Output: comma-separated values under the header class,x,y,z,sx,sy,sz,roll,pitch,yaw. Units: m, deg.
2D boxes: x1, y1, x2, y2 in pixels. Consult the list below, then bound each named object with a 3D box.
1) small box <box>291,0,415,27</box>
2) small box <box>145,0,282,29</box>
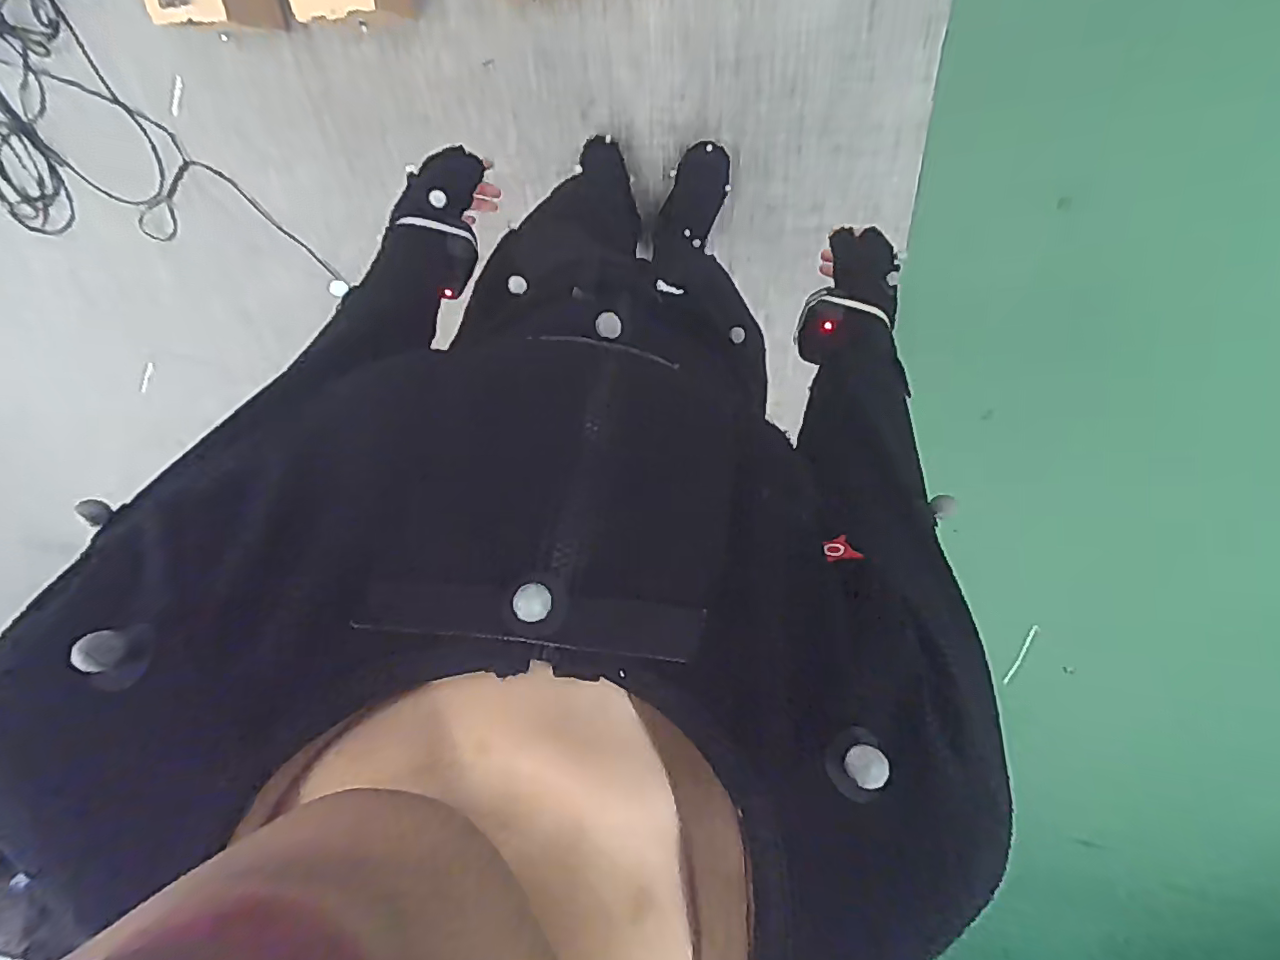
class,x,y,z,sx,sy,sz,roll,pitch,yaw
small box,-0.553,-0.976,1.007,0.168,0.176,0.179,0,125,10
small box,-0.841,-0.991,1.043,0.168,0.176,0.179,4,124,7
